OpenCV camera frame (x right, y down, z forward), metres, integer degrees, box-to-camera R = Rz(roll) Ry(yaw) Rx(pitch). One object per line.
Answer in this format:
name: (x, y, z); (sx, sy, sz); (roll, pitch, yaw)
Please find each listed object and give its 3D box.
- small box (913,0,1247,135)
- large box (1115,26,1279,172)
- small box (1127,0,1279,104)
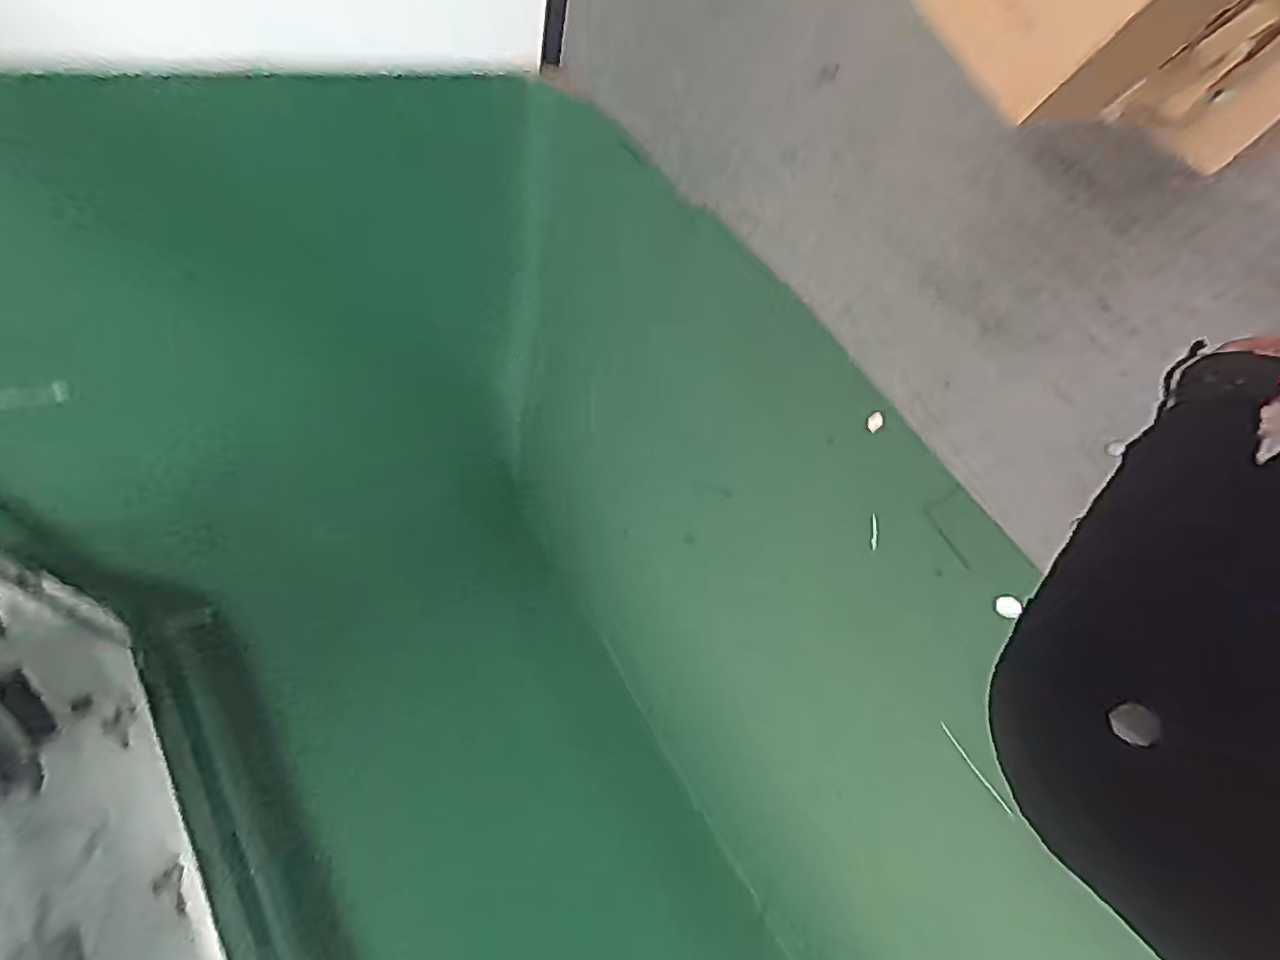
small box: (0.372, -0.415, 0.429); (0.168, 0.176, 0.179); (61, 151, 10)
large box: (0.829, -0.666, 0.666); (0.320, 0.320, 0.408); (53, 147, 18)
small box: (0.505, -0.480, 0.497); (0.179, 0.176, 0.168); (62, 150, 7)
